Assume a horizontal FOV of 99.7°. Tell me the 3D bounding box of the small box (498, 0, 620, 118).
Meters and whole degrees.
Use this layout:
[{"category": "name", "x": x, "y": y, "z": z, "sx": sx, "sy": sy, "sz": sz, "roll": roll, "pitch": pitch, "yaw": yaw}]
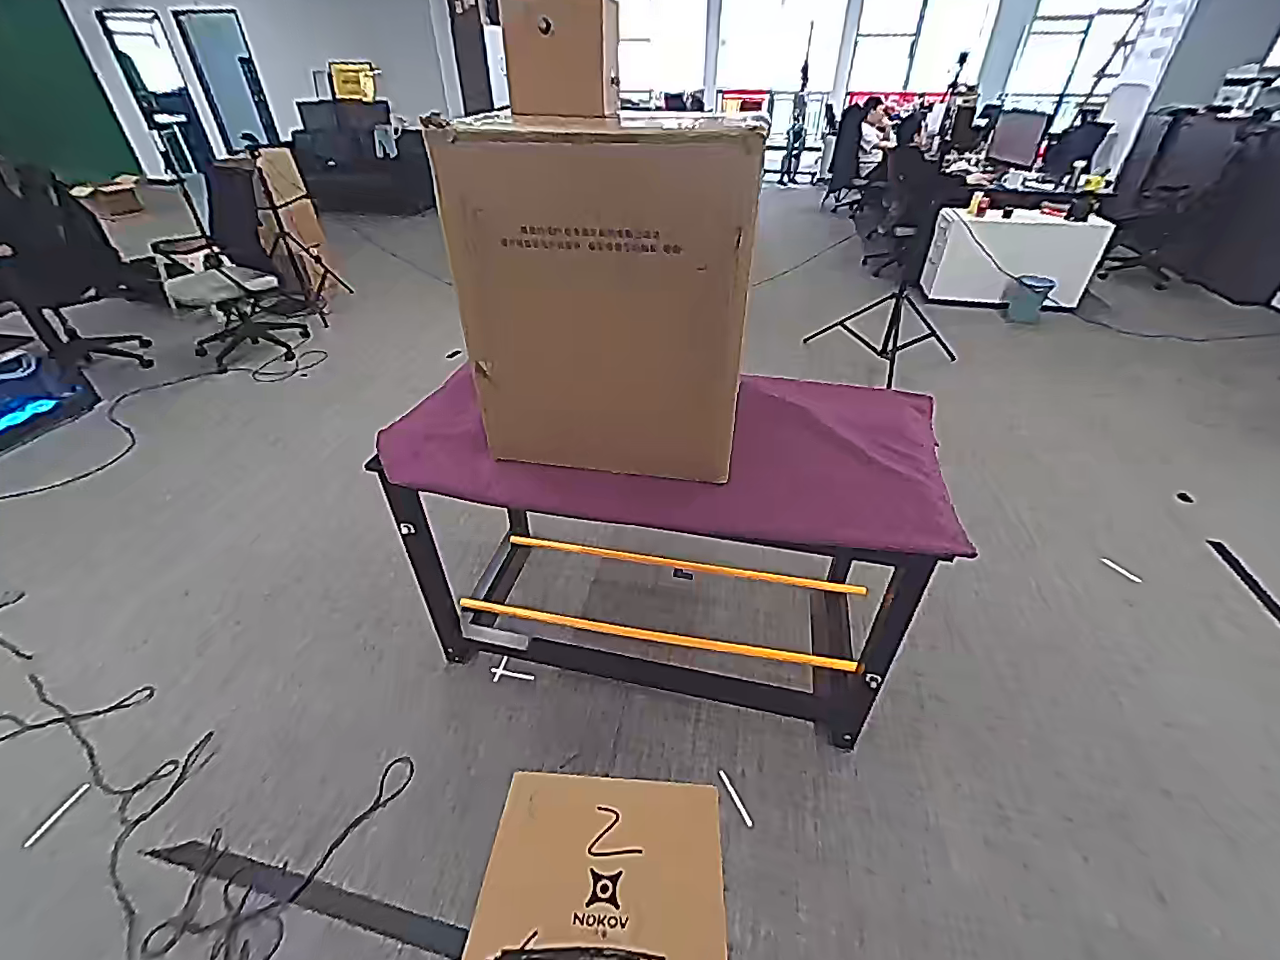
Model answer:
[{"category": "small box", "x": -0.136, "y": -0.760, "z": 0.977, "sx": 0.179, "sy": 0.176, "sz": 0.168, "roll": 6, "pitch": 38, "yaw": 6}]
